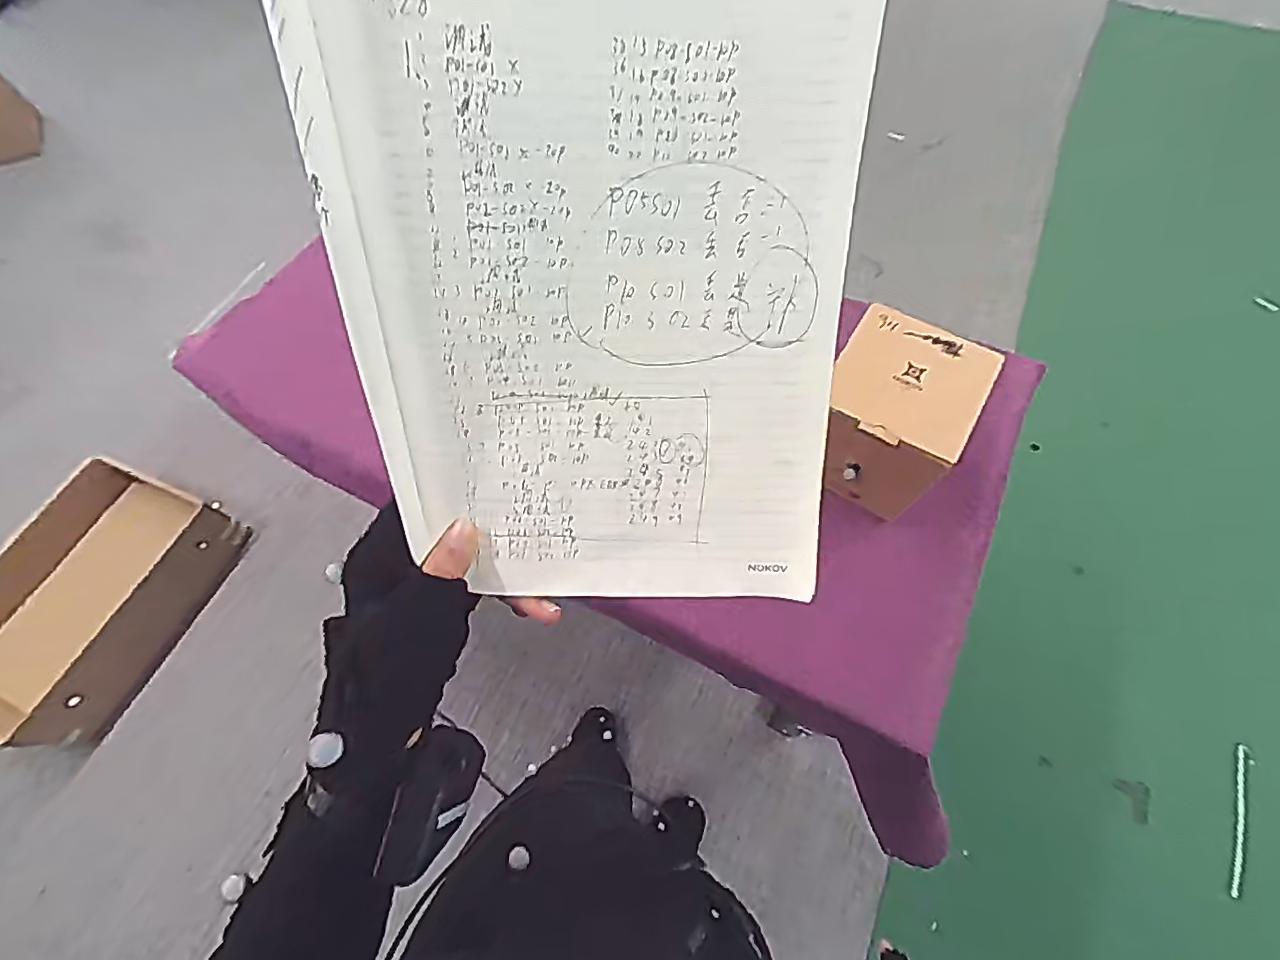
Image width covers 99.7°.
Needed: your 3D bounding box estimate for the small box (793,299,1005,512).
[{"bbox_3d":[0.313,-0.086,0.693,0.168,0.176,0.179,31,70,16],"label":"small box"}]
